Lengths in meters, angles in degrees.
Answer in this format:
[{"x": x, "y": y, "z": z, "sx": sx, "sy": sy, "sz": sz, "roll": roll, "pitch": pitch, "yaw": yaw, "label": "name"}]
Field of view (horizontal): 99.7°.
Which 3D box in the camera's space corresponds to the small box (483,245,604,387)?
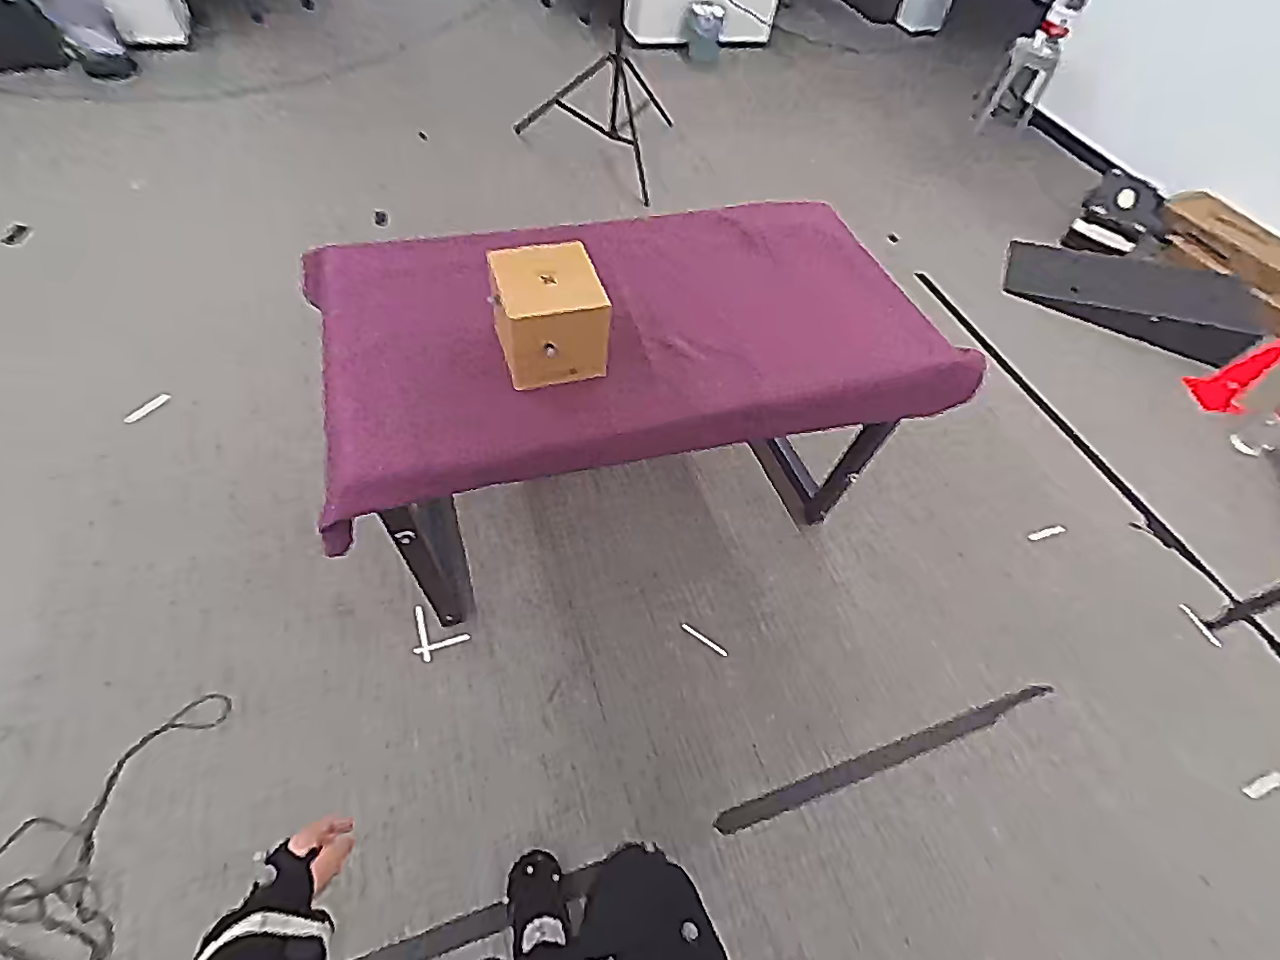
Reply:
[{"x": -0.168, "y": -0.282, "z": 0.956, "sx": 0.168, "sy": 0.176, "sz": 0.179, "roll": -14, "pitch": 59, "yaw": -16, "label": "small box"}]
